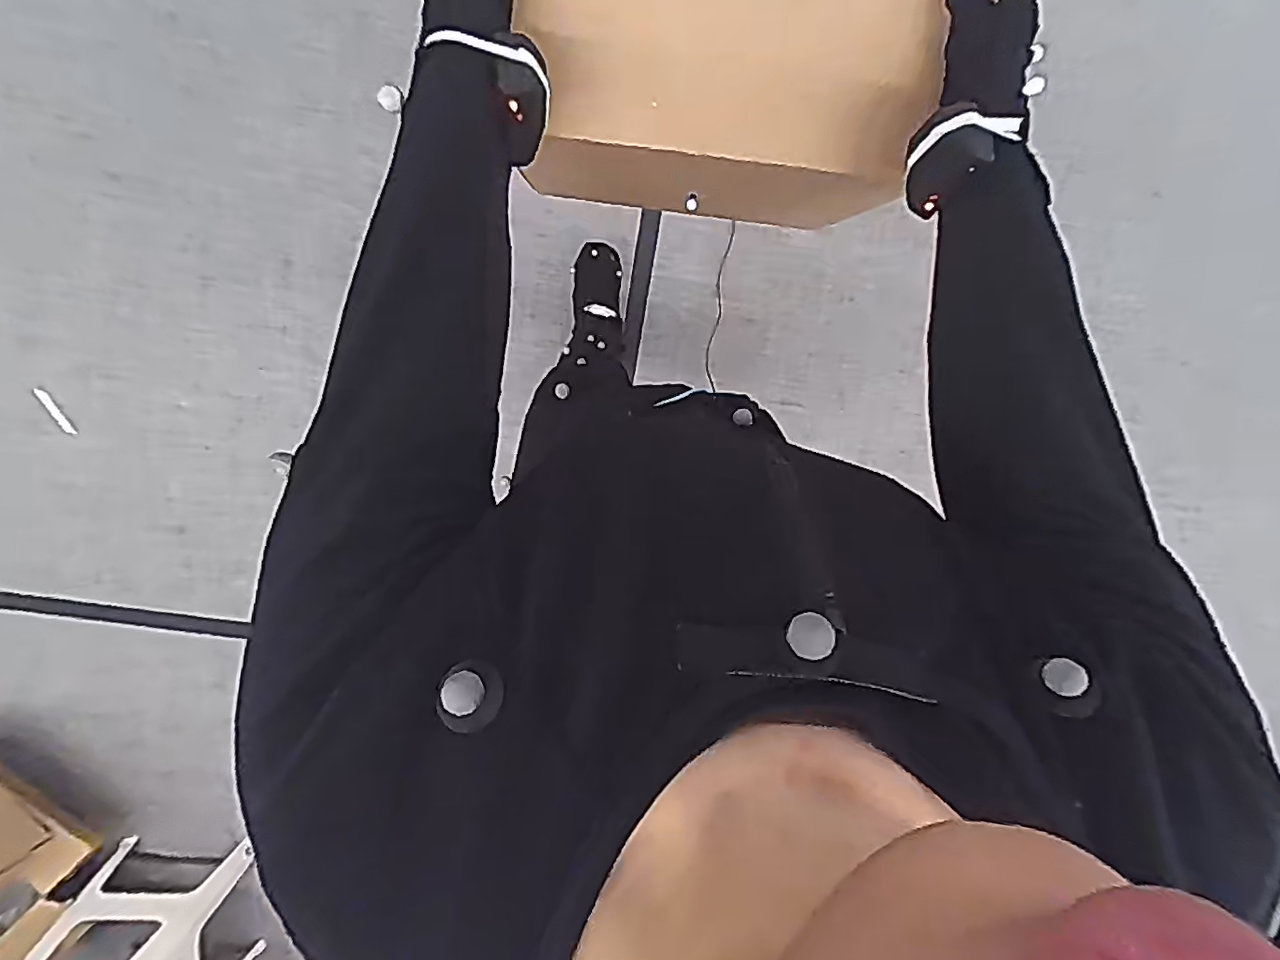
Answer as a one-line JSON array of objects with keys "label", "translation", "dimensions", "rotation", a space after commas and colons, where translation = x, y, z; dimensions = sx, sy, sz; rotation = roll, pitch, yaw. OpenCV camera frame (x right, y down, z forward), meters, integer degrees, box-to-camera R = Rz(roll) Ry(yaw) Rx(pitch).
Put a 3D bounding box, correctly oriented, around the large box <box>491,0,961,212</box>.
[{"label": "large box", "translation": [0.077, -0.494, 0.582], "dimensions": [0.408, 0.320, 0.320], "rotation": [5, 107, -4]}]
